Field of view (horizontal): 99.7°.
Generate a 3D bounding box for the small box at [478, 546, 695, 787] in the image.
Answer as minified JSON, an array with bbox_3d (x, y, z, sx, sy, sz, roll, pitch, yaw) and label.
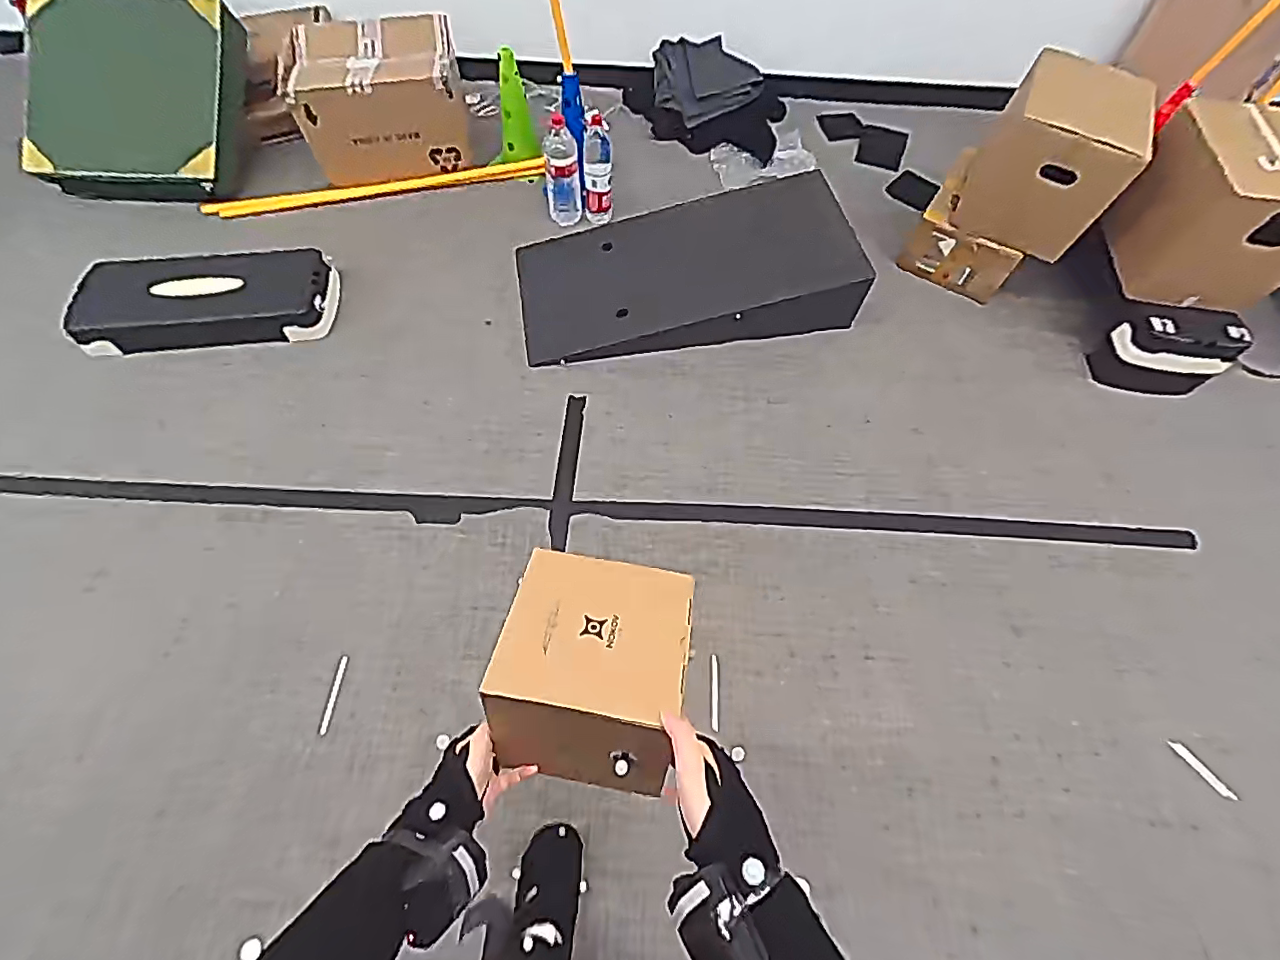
[{"bbox_3d":[-0.047,0.198,0.569,0.179,0.176,0.168,10,41,5],"label":"small box"}]
